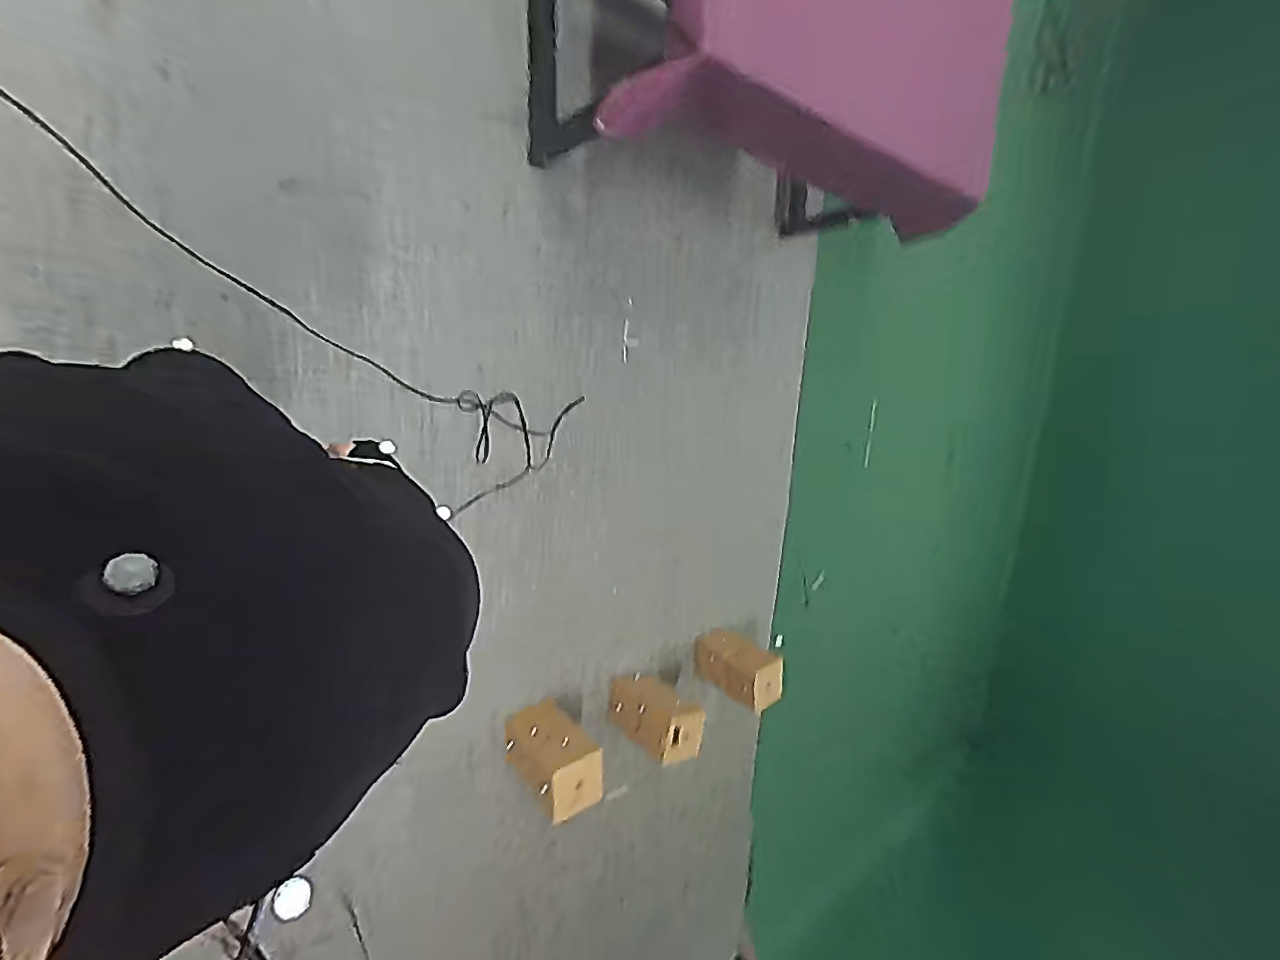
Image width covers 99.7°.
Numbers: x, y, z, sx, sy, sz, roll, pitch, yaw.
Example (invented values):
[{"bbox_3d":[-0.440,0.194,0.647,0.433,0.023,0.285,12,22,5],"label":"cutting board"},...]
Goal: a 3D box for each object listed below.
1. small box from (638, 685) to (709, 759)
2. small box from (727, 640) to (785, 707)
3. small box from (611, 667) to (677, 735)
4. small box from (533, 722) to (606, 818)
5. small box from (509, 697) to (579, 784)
[{"bbox_3d":[0.114,0.845,1.906,0.179,0.176,0.168,7,96,-40],"label":"small box"},{"bbox_3d":[0.460,0.763,2.162,0.168,0.176,0.179,-15,109,-34],"label":"small box"},{"bbox_3d":[0.013,0.825,2.035,0.179,0.176,0.168,6,96,-38],"label":"small box"},{"bbox_3d":[-0.218,0.870,1.651,0.168,0.176,0.179,-9,105,-36],"label":"small box"},{"bbox_3d":[-0.315,0.848,1.783,0.179,0.176,0.168,-10,105,-36],"label":"small box"}]
